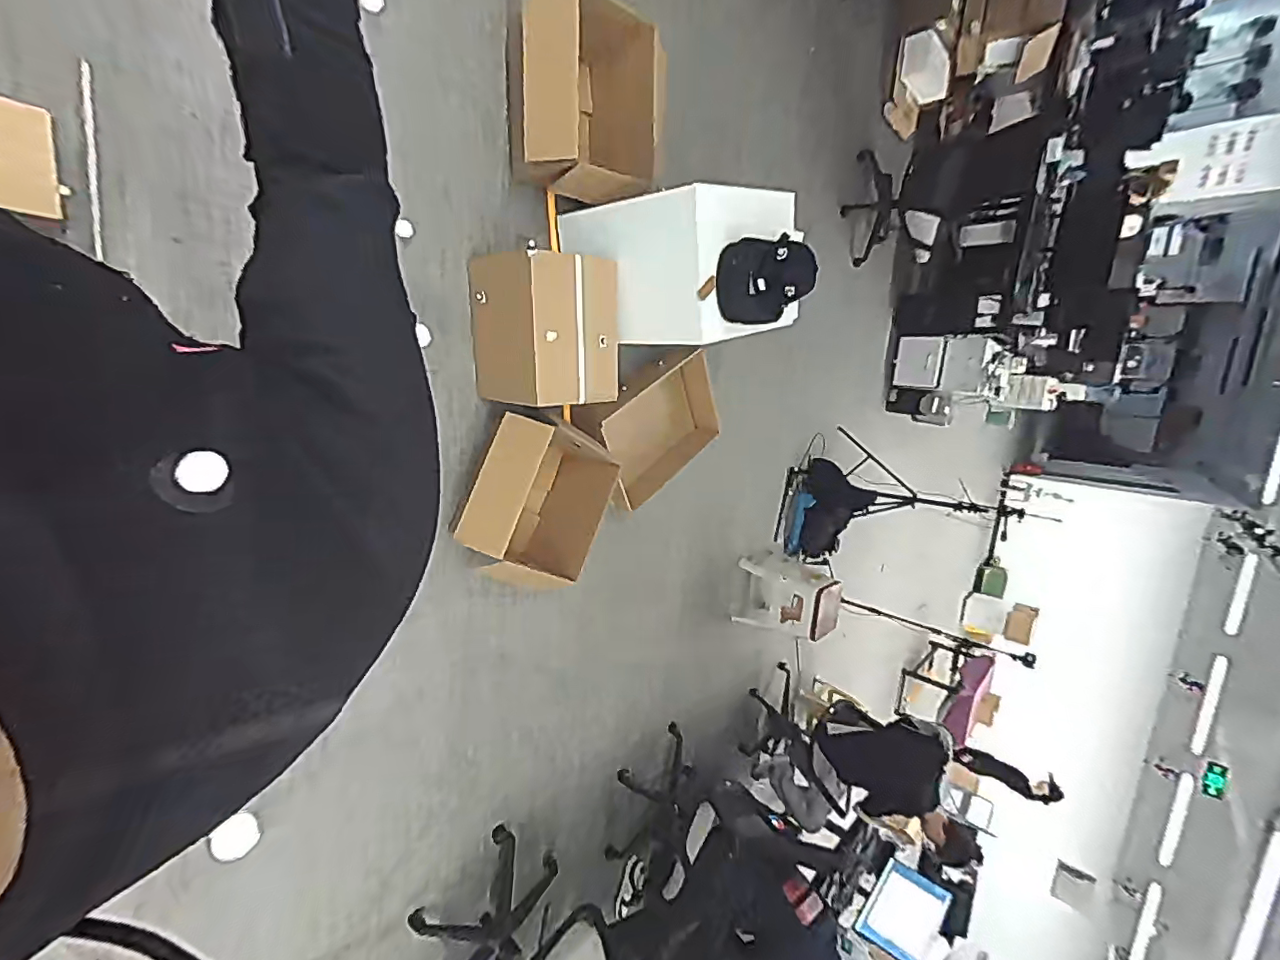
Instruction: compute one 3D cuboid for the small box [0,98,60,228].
[{"bbox_3d":[-1.058,-0.510,0.856,0.179,0.176,0.168,-7,105,-46],"label":"small box"}]
